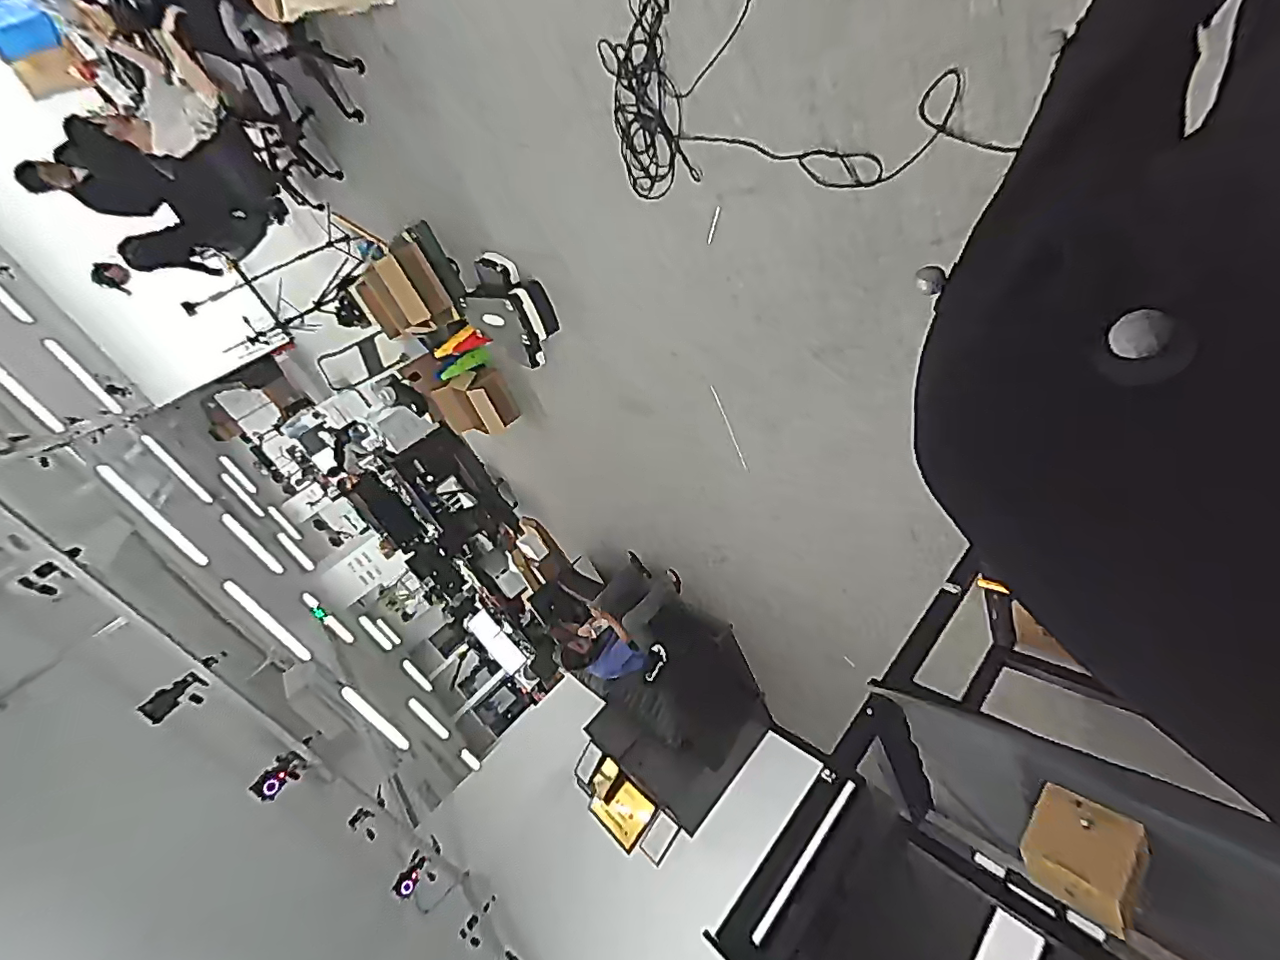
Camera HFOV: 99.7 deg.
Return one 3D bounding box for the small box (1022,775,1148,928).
[{"bbox_3d":[0.944,0.776,1.143,0.168,0.176,0.179,10,136,53],"label":"small box"}]
